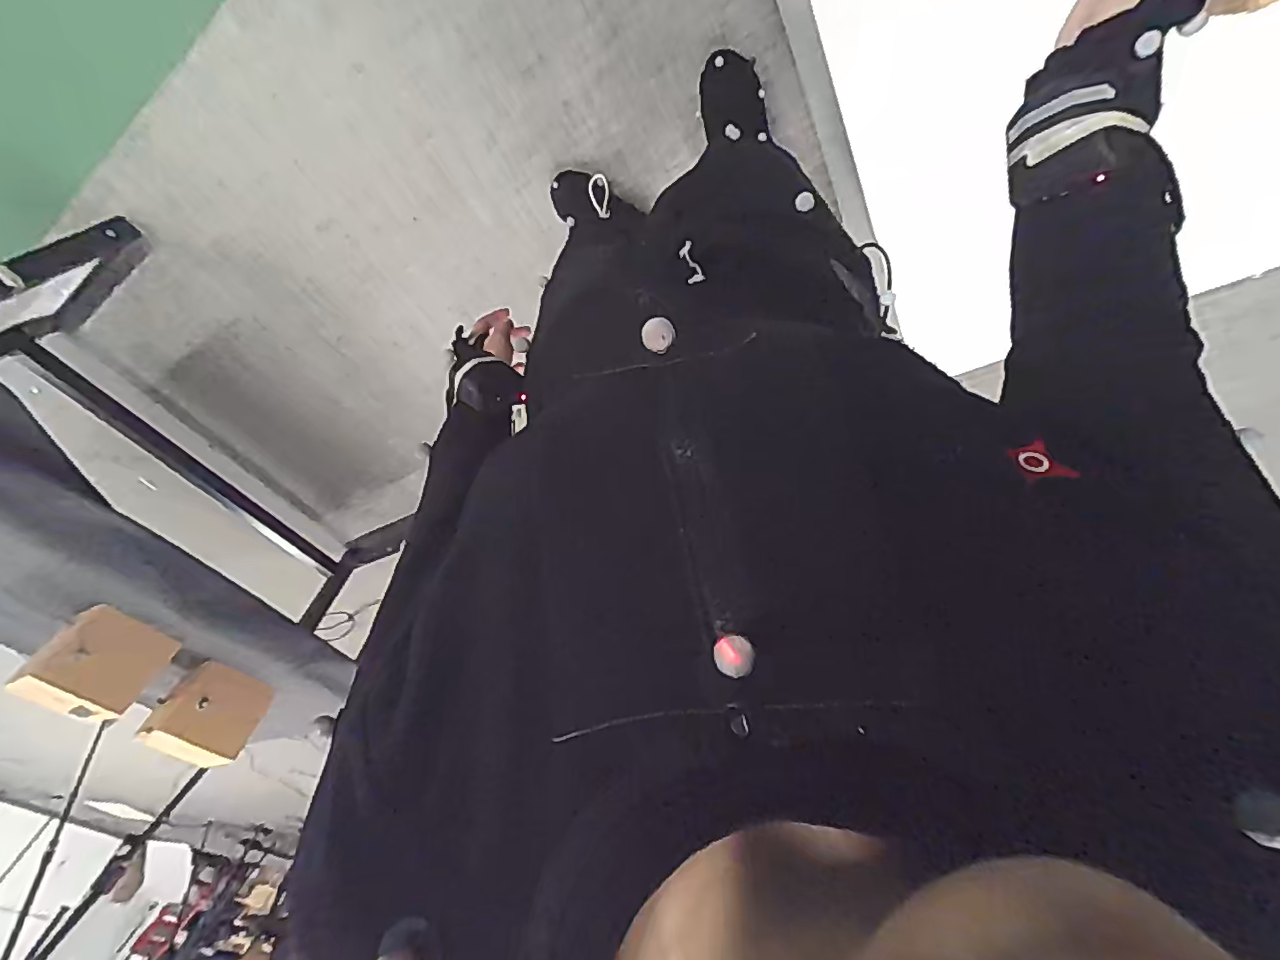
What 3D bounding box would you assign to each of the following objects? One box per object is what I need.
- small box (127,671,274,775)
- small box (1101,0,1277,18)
[{"bbox_3d":[-1.018,0.562,1.263,0.168,0.176,0.179,-23,125,29],"label":"small box"},{"bbox_3d":[0.411,-0.415,0.313,0.179,0.176,0.168,-19,125,23],"label":"small box"}]
